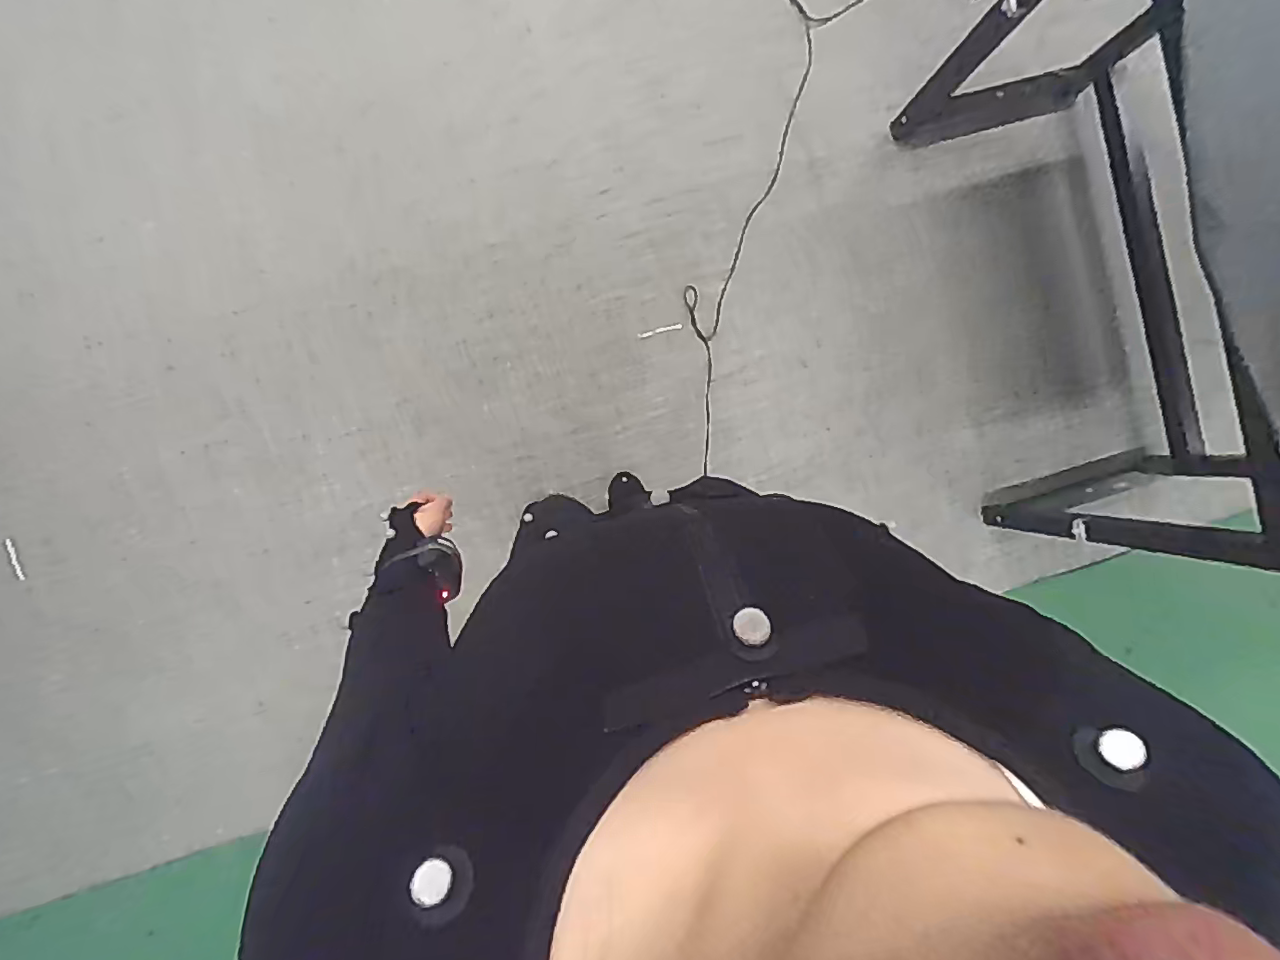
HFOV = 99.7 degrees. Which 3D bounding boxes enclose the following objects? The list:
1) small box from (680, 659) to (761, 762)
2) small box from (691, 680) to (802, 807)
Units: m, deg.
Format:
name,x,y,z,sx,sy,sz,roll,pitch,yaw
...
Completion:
name,x,y,z,sx,sy,sz,roll,pitch,yaw
small box,0.214,0.580,1.384,0.179,0.176,0.168,-14,92,-5
small box,0.232,0.583,1.221,0.179,0.176,0.168,-24,92,-2
